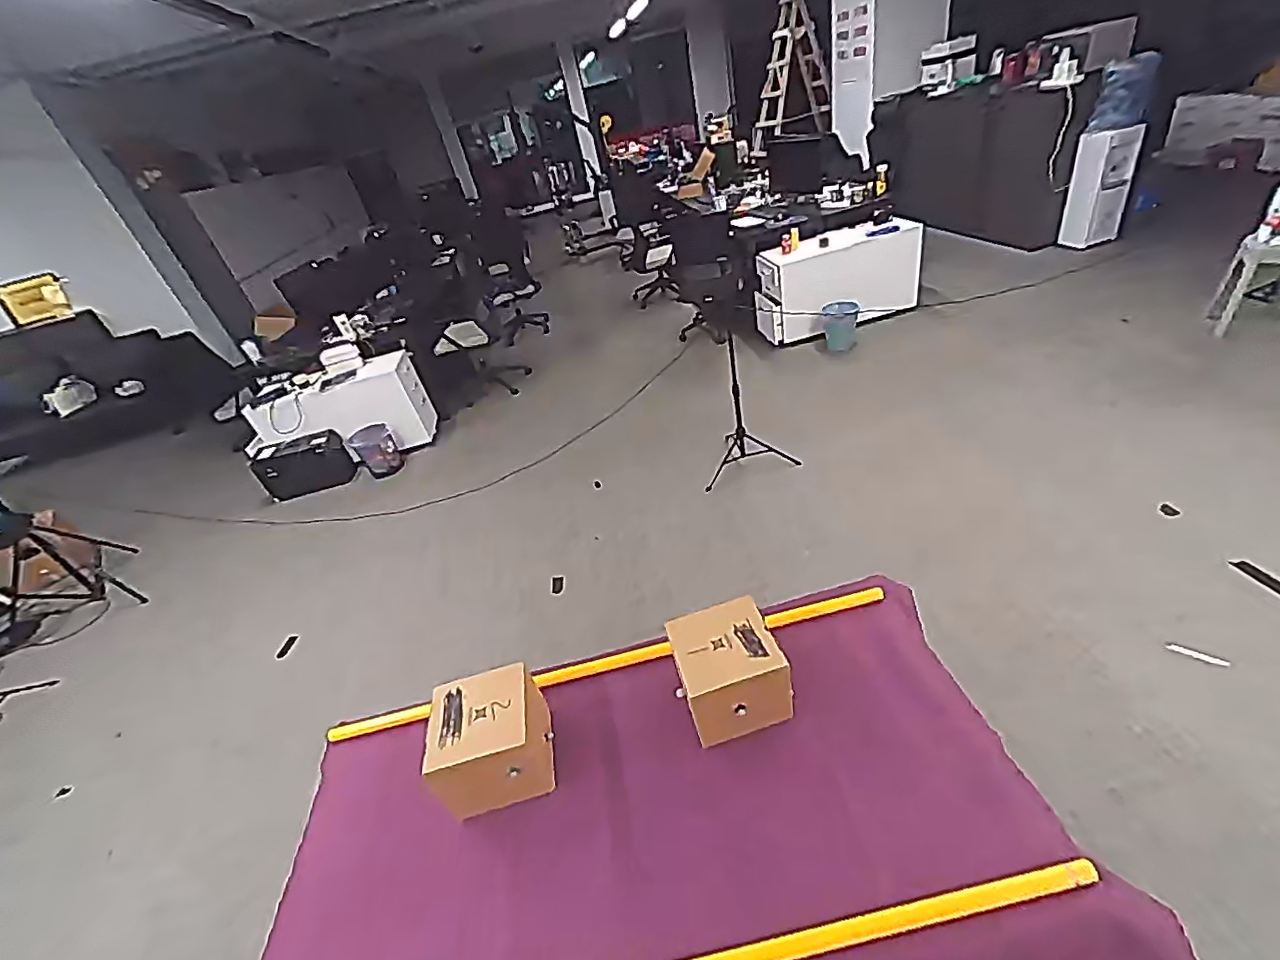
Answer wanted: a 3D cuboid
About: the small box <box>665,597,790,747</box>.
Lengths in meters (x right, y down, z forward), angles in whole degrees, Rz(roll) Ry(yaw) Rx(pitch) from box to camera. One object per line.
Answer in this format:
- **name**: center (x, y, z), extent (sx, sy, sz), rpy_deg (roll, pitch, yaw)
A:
- **small box**: center (0.160, 0.350, 0.985), extent (0.179, 0.176, 0.168), rpy_deg (-18, 36, -3)
